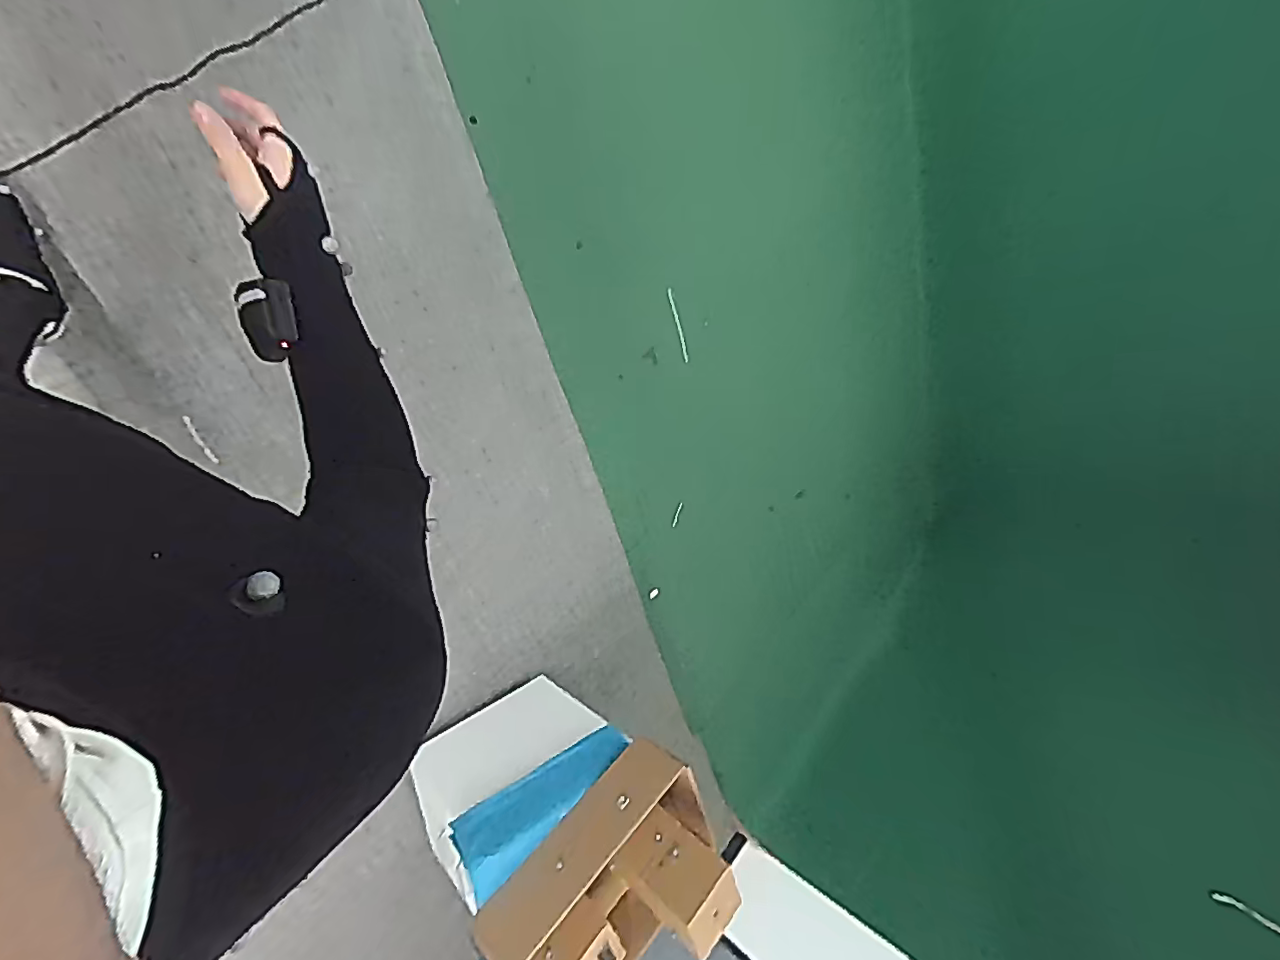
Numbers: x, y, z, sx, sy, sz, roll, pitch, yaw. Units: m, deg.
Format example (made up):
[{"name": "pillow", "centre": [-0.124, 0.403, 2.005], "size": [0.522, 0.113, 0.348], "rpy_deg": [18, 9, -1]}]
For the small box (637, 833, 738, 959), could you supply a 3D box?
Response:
[{"name": "small box", "centre": [0.118, 1.032, 1.343], "size": [0.168, 0.176, 0.179], "rpy_deg": [-34, 121, -33]}]
